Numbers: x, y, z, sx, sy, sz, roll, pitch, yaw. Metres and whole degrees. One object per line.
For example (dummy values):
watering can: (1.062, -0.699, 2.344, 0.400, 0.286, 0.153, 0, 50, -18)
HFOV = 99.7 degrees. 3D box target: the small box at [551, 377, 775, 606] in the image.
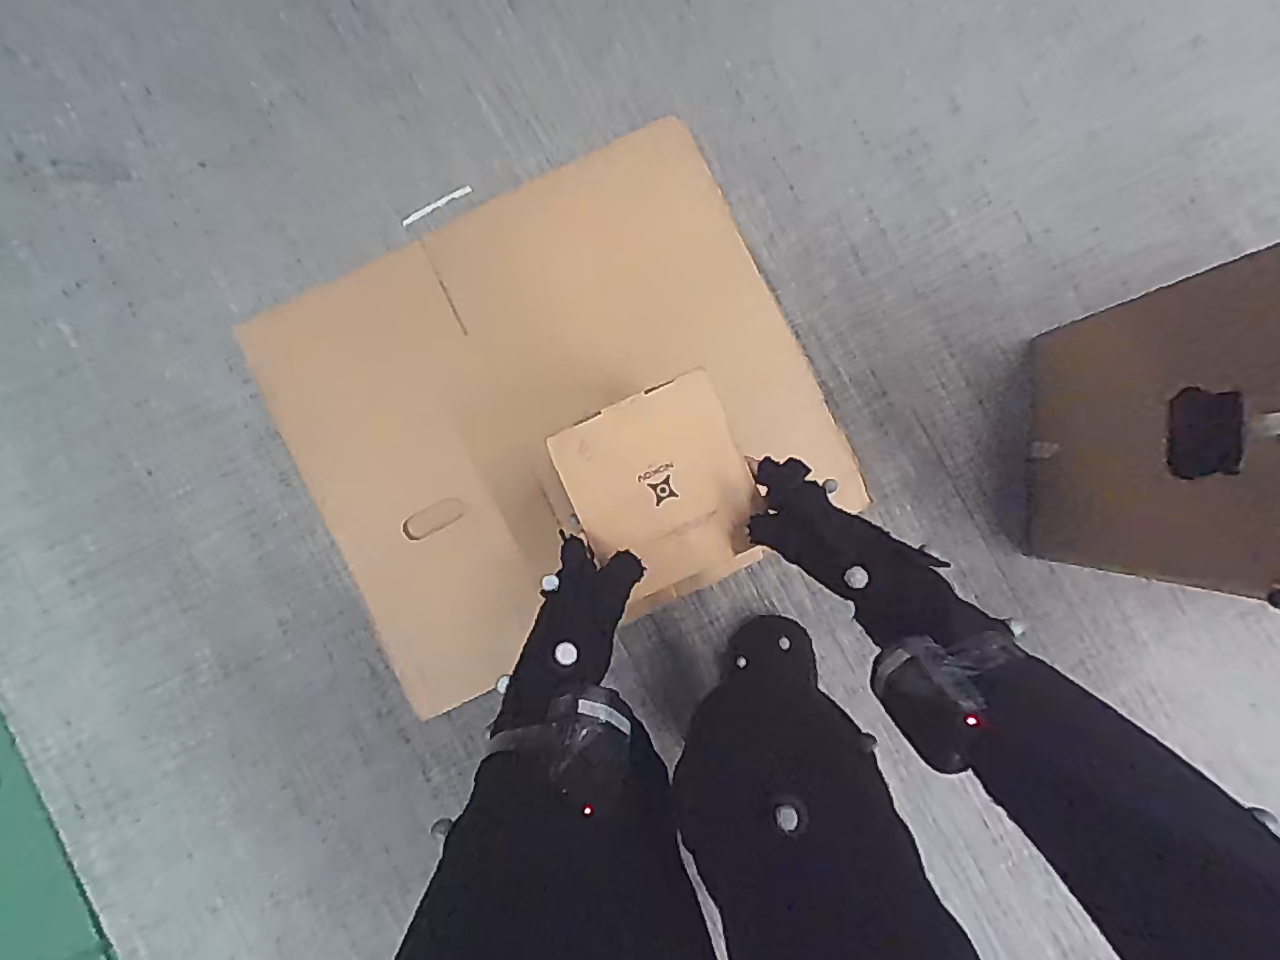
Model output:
small box: (0.021, 0.013, 0.597, 0.168, 0.176, 0.179, -25, 89, 0)
